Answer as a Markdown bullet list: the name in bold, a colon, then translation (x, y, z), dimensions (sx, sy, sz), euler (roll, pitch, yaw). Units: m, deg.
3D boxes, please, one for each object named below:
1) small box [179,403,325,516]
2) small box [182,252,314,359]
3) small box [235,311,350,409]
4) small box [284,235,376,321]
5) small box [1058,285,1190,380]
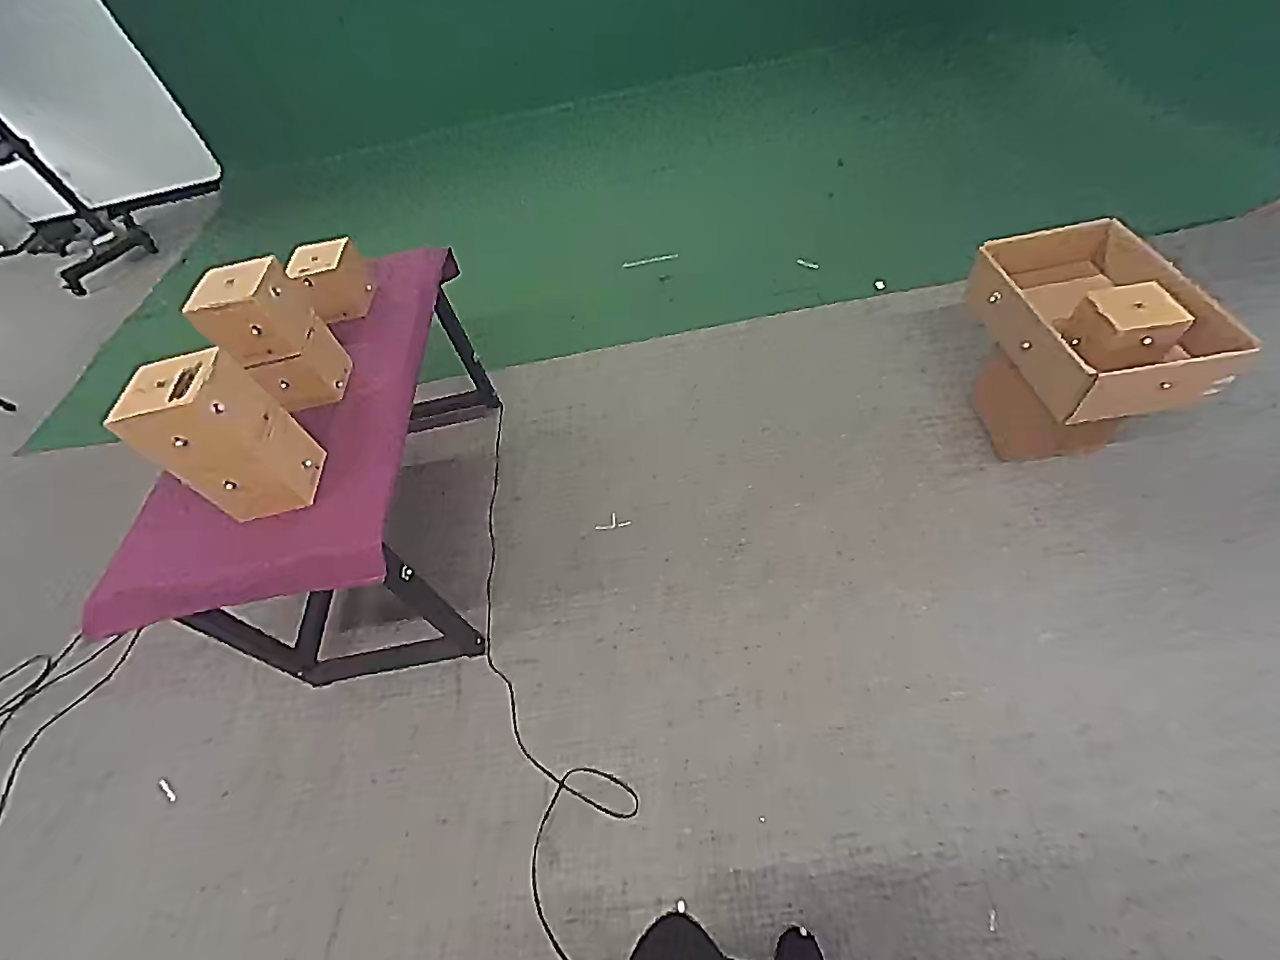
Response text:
- **small box**: translation (-0.848, -0.040, 1.201), dimensions (0.179, 0.176, 0.168), euler (-12, 52, 2)
- **small box**: translation (-0.917, -0.406, 1.287), dimensions (0.168, 0.176, 0.179), euler (-11, 52, 2)
- **small box**: translation (-0.896, -0.308, 1.415), dimensions (0.179, 0.176, 0.168), euler (-12, 52, 3)
- **small box**: translation (-0.939, -0.615, 1.655), dimensions (0.168, 0.176, 0.179), euler (-10, 52, 3)
- **small box**: translation (1.284, -0.393, 1.452), dimensions (0.179, 0.176, 0.168), euler (-8, 53, 5)
